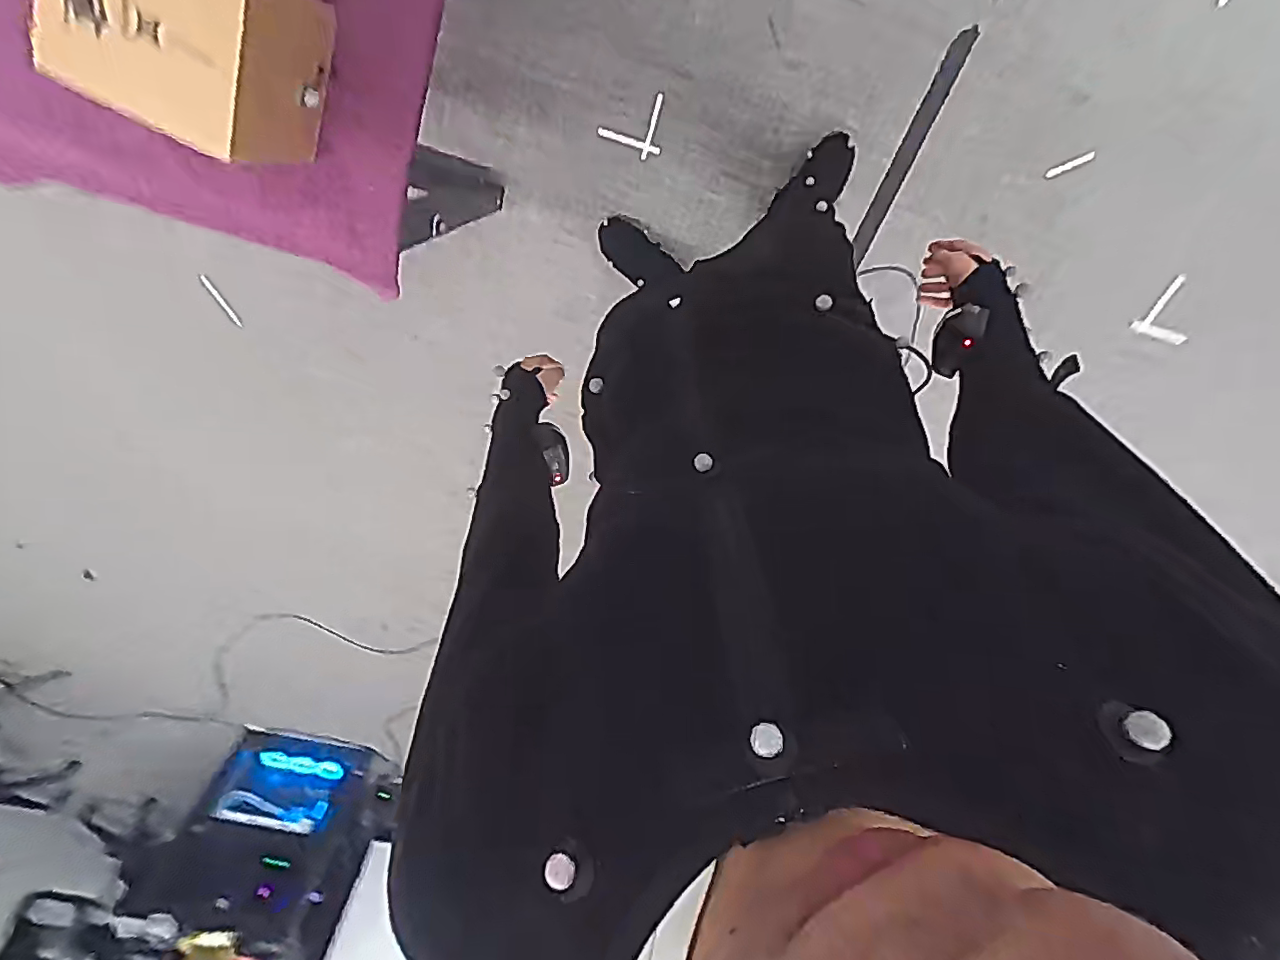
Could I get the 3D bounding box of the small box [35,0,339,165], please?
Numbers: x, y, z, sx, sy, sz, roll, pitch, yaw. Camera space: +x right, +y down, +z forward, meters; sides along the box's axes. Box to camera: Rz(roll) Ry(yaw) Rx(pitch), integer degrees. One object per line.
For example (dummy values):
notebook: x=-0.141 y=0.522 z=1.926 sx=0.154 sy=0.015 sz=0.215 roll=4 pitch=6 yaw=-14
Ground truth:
small box: x=-0.454 y=-0.453 z=0.562 sx=0.179 sy=0.176 sz=0.168 roll=24 pitch=119 yaw=-13
